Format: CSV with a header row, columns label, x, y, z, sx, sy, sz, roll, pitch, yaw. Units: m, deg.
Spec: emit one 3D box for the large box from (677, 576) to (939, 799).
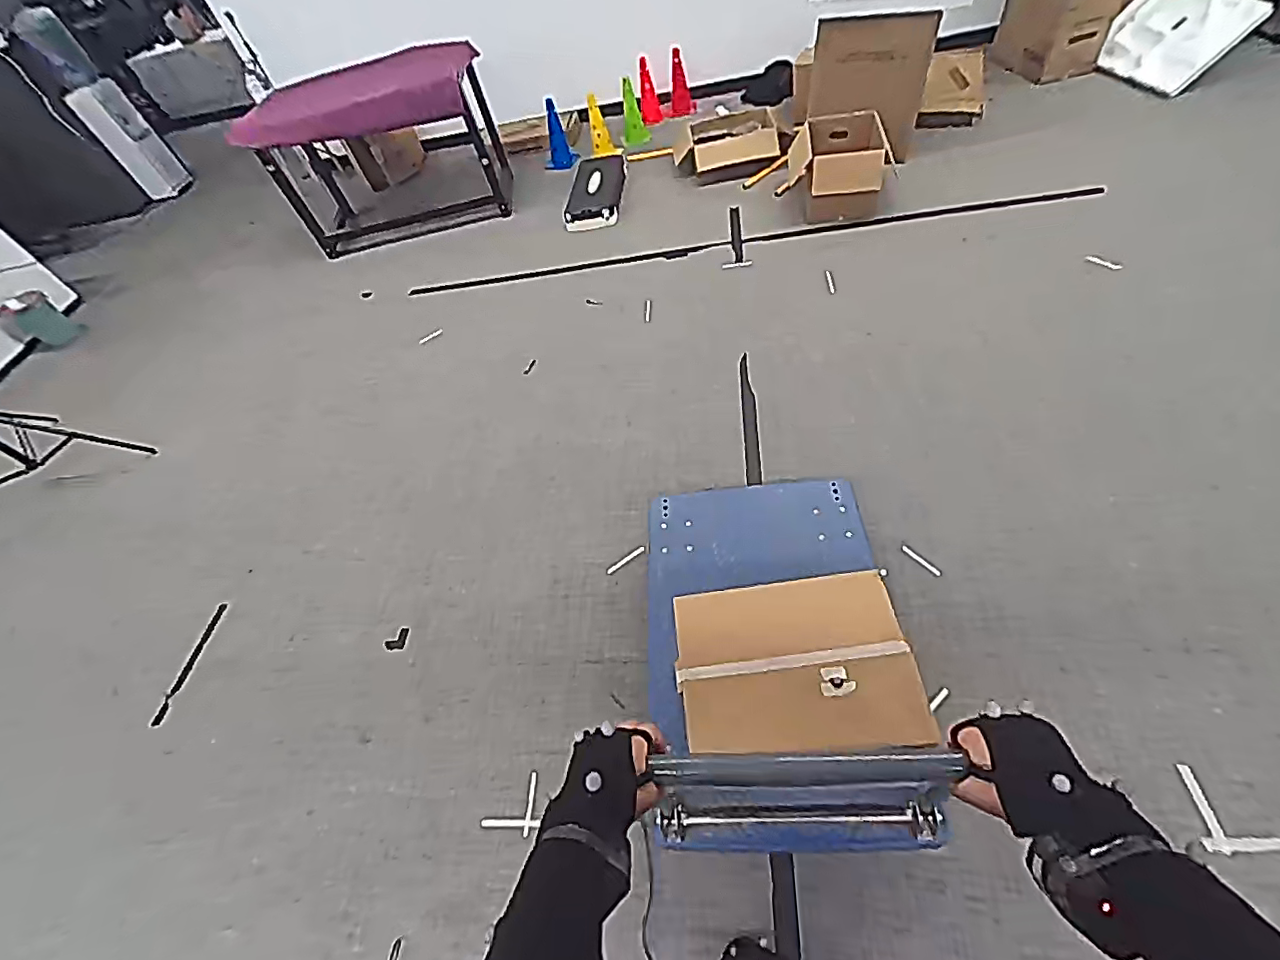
label,x,y,z,sx,sy,sz,roll,pitch,yaw
large box,0.303,0.429,1.093,0.408,0.320,0.320,-9,52,6
